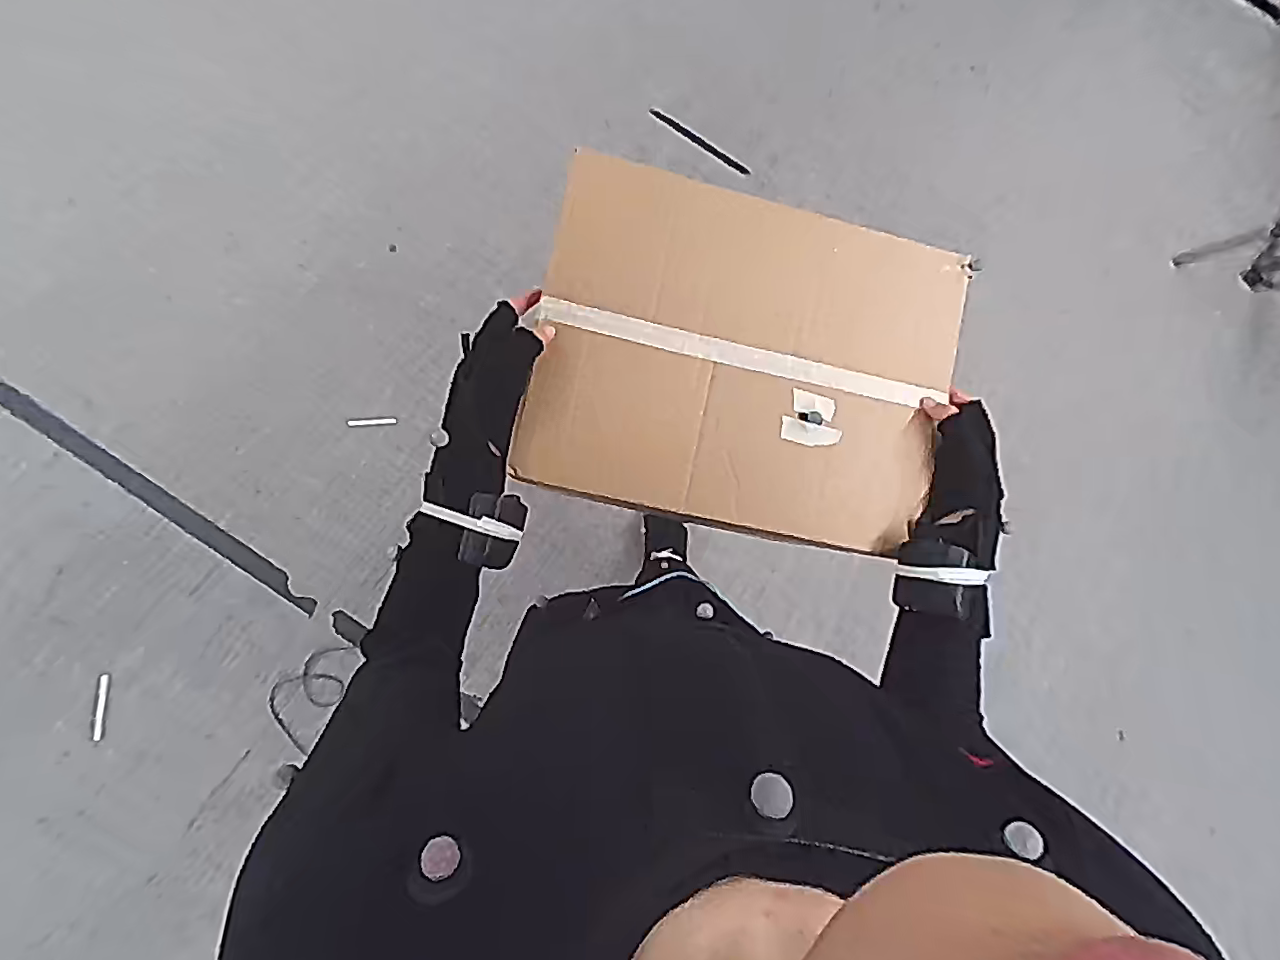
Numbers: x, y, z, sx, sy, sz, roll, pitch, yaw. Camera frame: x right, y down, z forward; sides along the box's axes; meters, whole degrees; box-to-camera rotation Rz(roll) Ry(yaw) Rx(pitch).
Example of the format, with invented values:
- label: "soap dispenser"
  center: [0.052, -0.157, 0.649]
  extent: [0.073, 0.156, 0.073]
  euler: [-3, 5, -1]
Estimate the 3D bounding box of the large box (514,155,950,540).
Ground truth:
- label: "large box"
  center: [0.083, -0.119, 0.675]
  extent: [0.408, 0.320, 0.320]
  euler: [12, 87, -7]
